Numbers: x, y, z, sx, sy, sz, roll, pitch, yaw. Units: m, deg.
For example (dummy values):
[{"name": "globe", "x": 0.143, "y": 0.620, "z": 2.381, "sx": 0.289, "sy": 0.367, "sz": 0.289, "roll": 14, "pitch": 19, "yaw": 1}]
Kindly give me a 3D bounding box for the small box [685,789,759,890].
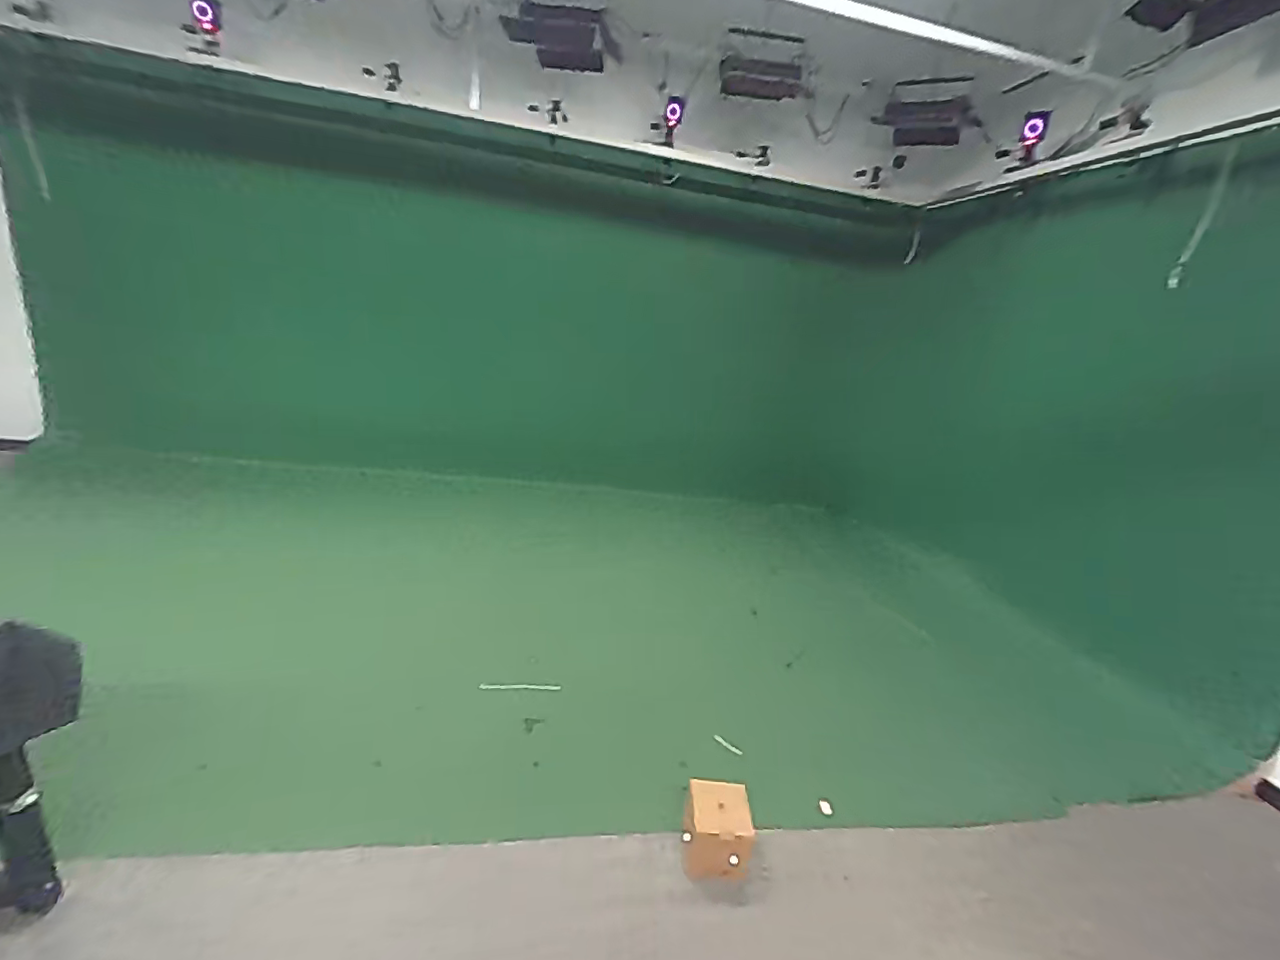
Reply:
[{"name": "small box", "x": 0.229, "y": 1.030, "z": 1.550, "sx": 0.168, "sy": 0.176, "sz": 0.179, "roll": 8, "pitch": 16, "yaw": -3}]
